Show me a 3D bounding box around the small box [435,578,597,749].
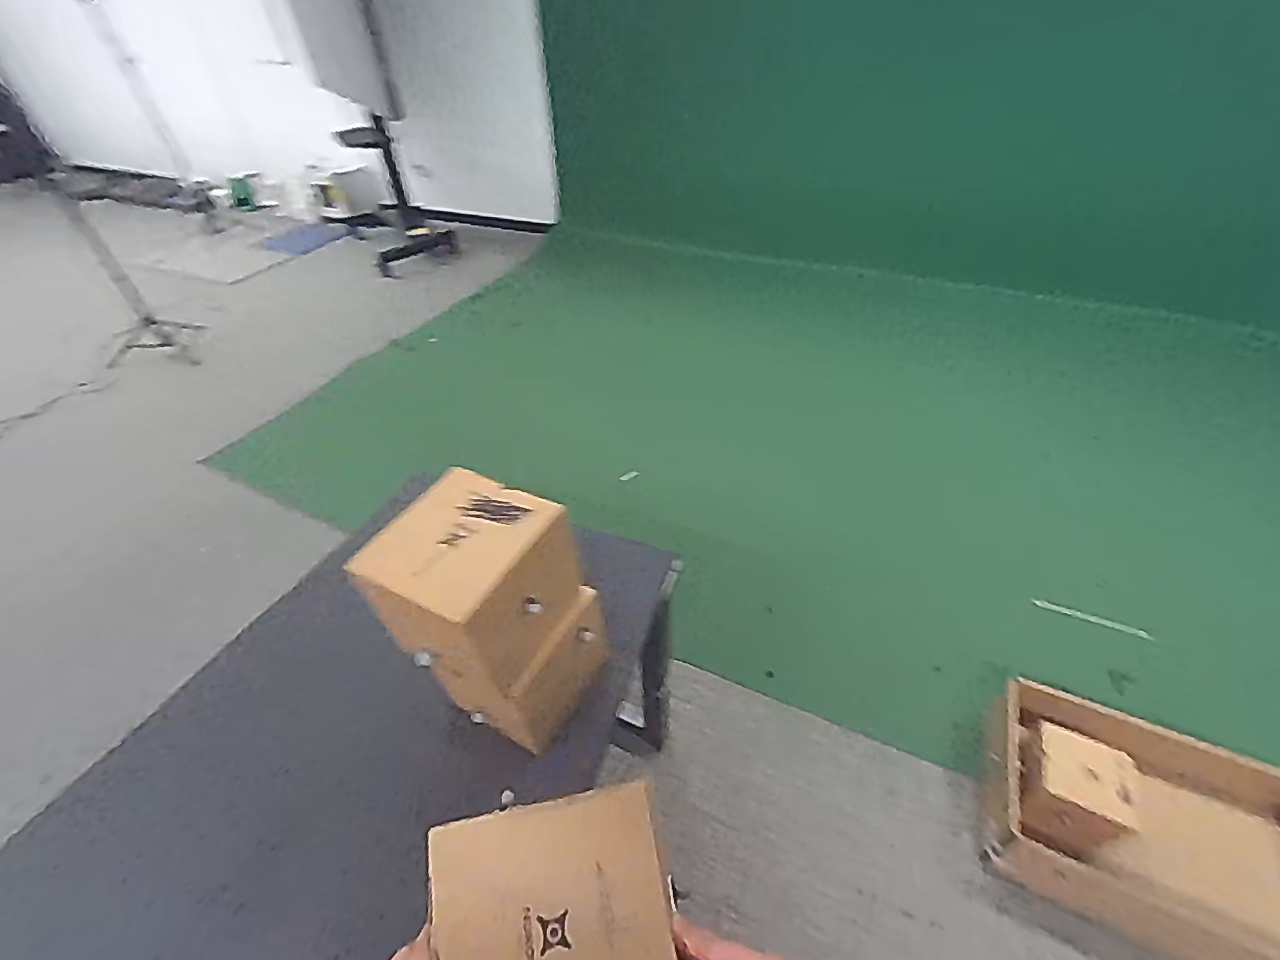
[{"bbox_3d":[-0.172,0.229,0.751,0.168,0.176,0.179,19,47,23],"label":"small box"}]

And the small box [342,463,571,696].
[{"bbox_3d":[-0.196,0.114,0.636,0.168,0.176,0.179,18,48,22],"label":"small box"}]

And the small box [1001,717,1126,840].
[{"bbox_3d":[0.956,0.686,1.238,0.179,0.176,0.168,18,47,20],"label":"small box"}]
